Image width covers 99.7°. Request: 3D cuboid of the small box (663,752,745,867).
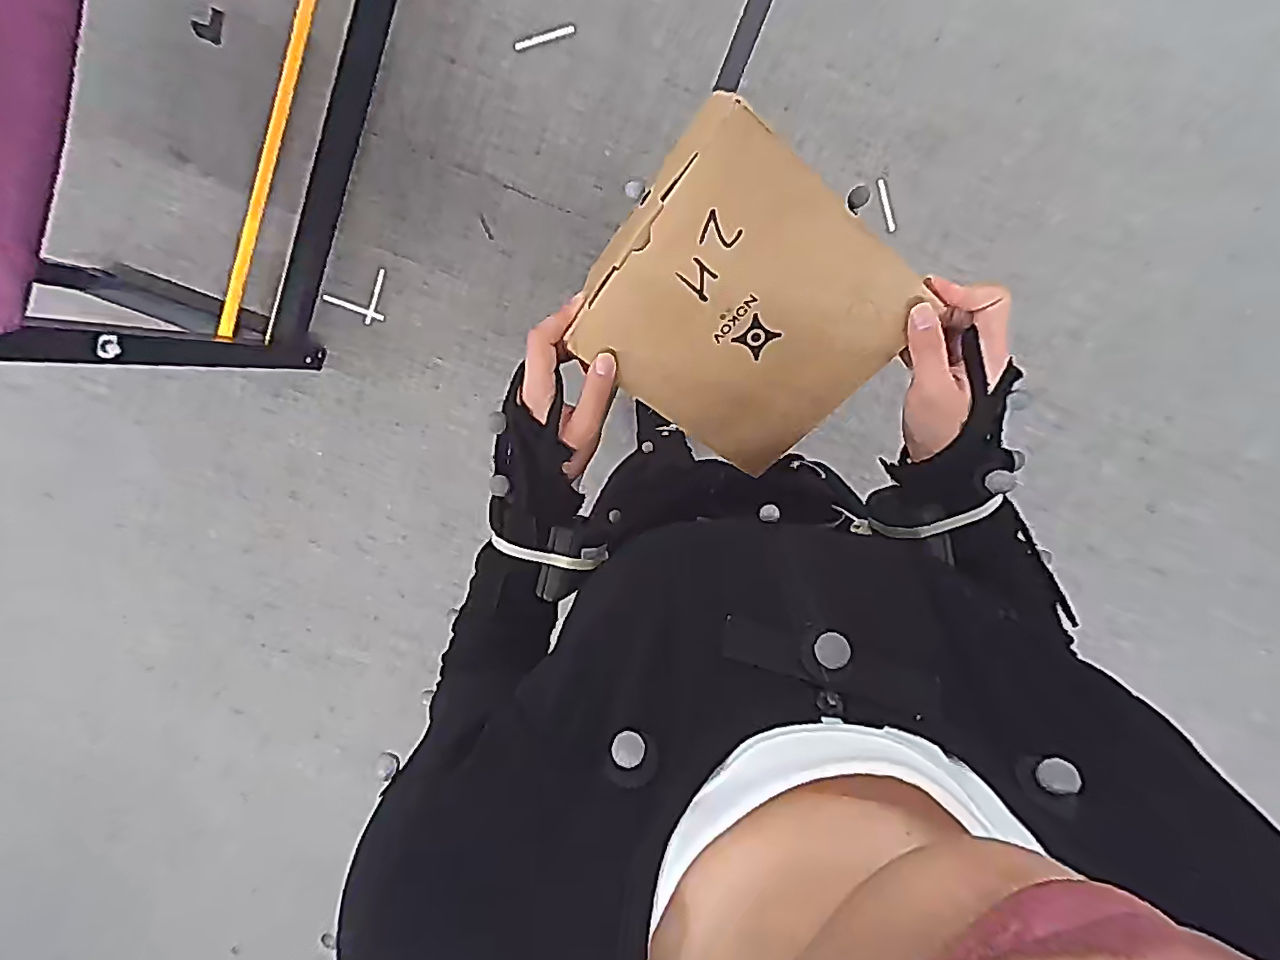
[{"bbox_3d":[0.163,0.870,1.438,0.168,0.176,0.179,17,99,-3],"label":"small box"}]
